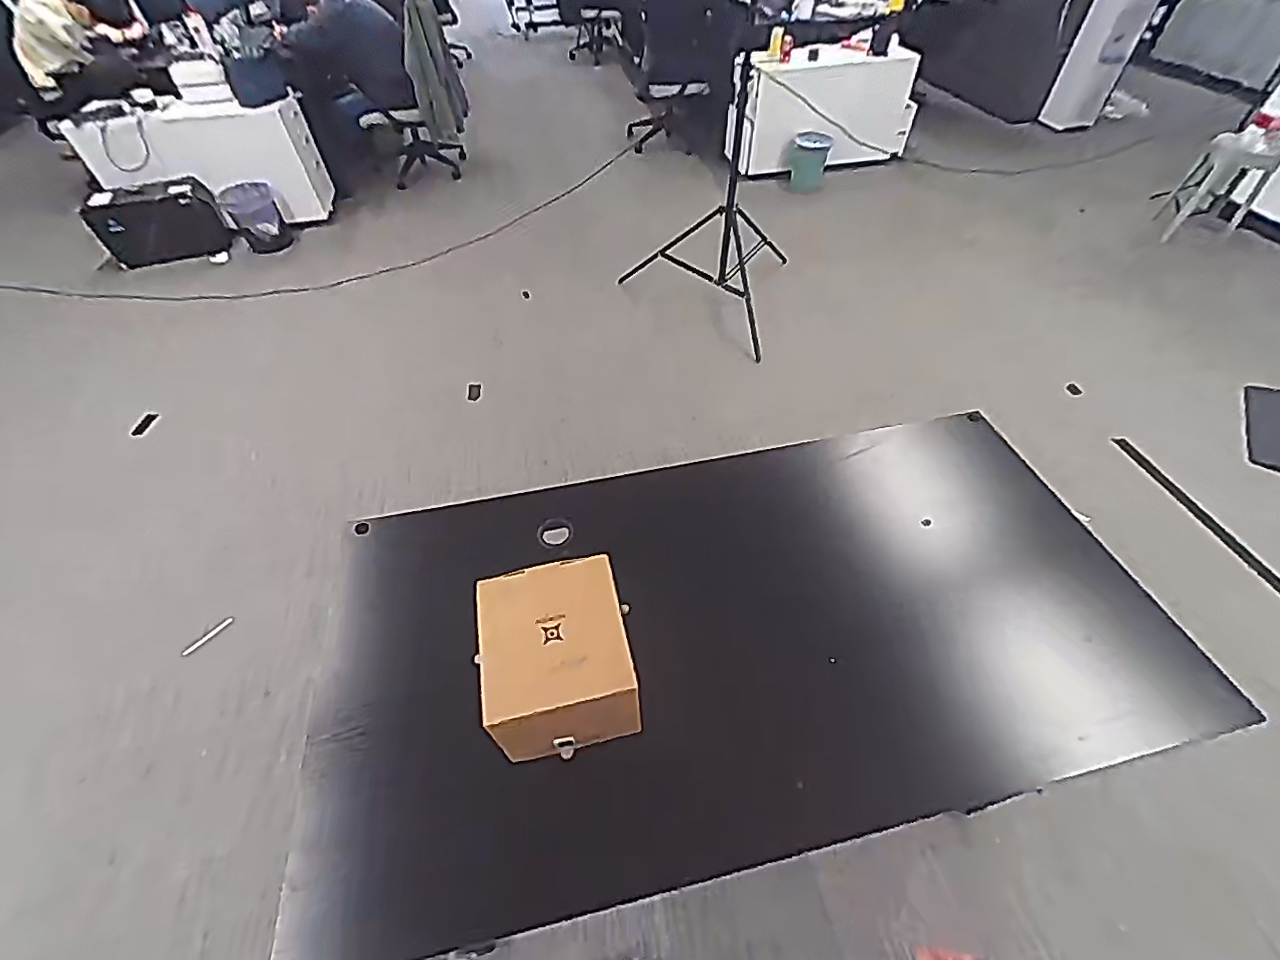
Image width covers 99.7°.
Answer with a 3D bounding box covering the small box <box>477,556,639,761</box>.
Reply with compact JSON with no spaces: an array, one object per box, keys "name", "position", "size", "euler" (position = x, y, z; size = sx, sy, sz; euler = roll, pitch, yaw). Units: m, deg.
[{"name":"small box","position":[-0.100,0.227,0.685],"size":[0.168,0.176,0.179],"euler":[-13,51,-7]}]
